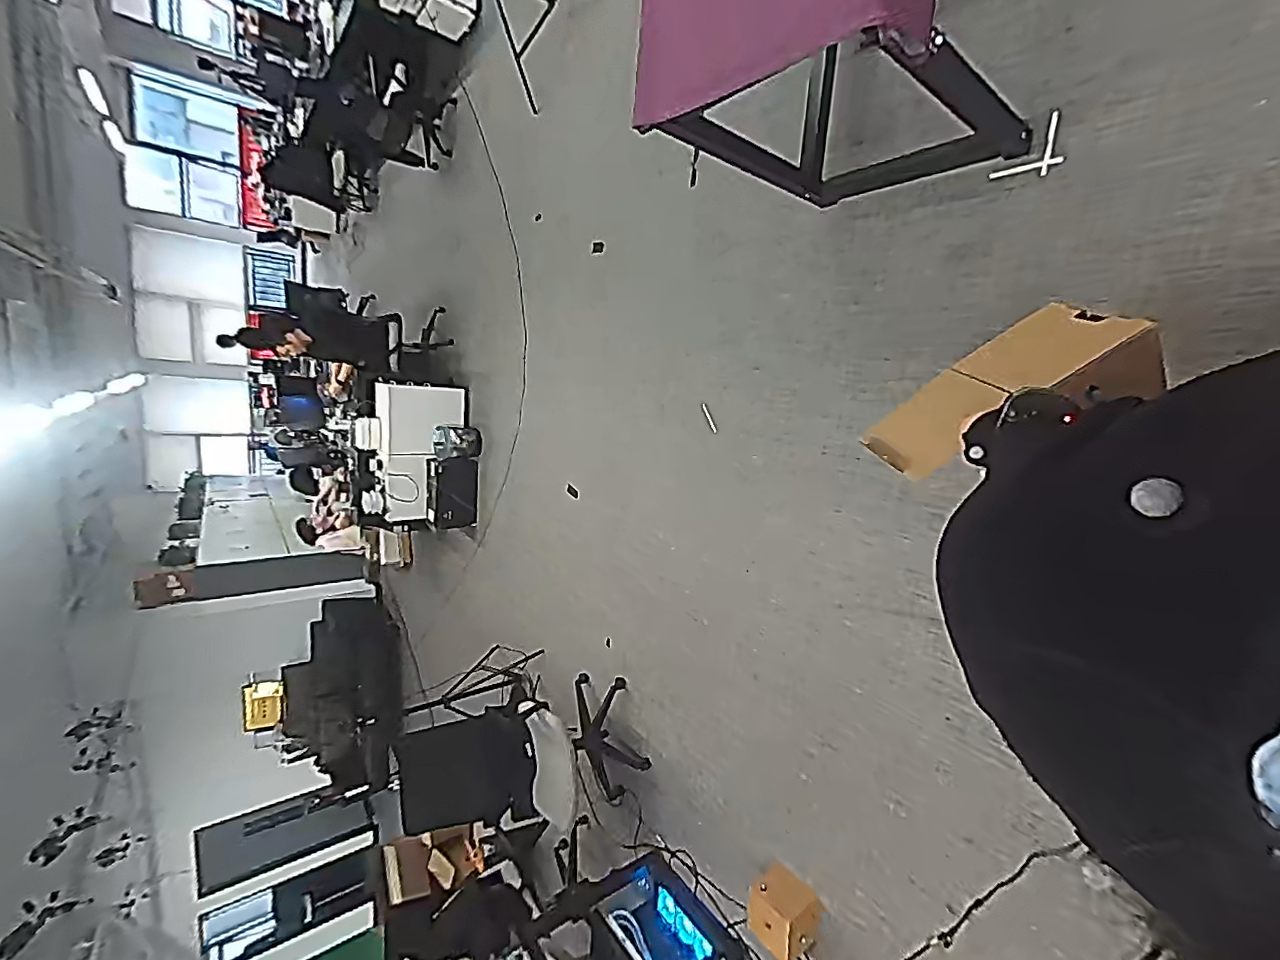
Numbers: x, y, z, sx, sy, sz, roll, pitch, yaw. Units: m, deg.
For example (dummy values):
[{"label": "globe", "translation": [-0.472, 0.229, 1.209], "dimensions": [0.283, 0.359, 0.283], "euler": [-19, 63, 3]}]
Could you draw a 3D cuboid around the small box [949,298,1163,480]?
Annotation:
[{"label": "small box", "translation": [0.600, -0.130, 0.783], "dimensions": [0.179, 0.176, 0.168], "euler": [-34, 28, 9]}]
